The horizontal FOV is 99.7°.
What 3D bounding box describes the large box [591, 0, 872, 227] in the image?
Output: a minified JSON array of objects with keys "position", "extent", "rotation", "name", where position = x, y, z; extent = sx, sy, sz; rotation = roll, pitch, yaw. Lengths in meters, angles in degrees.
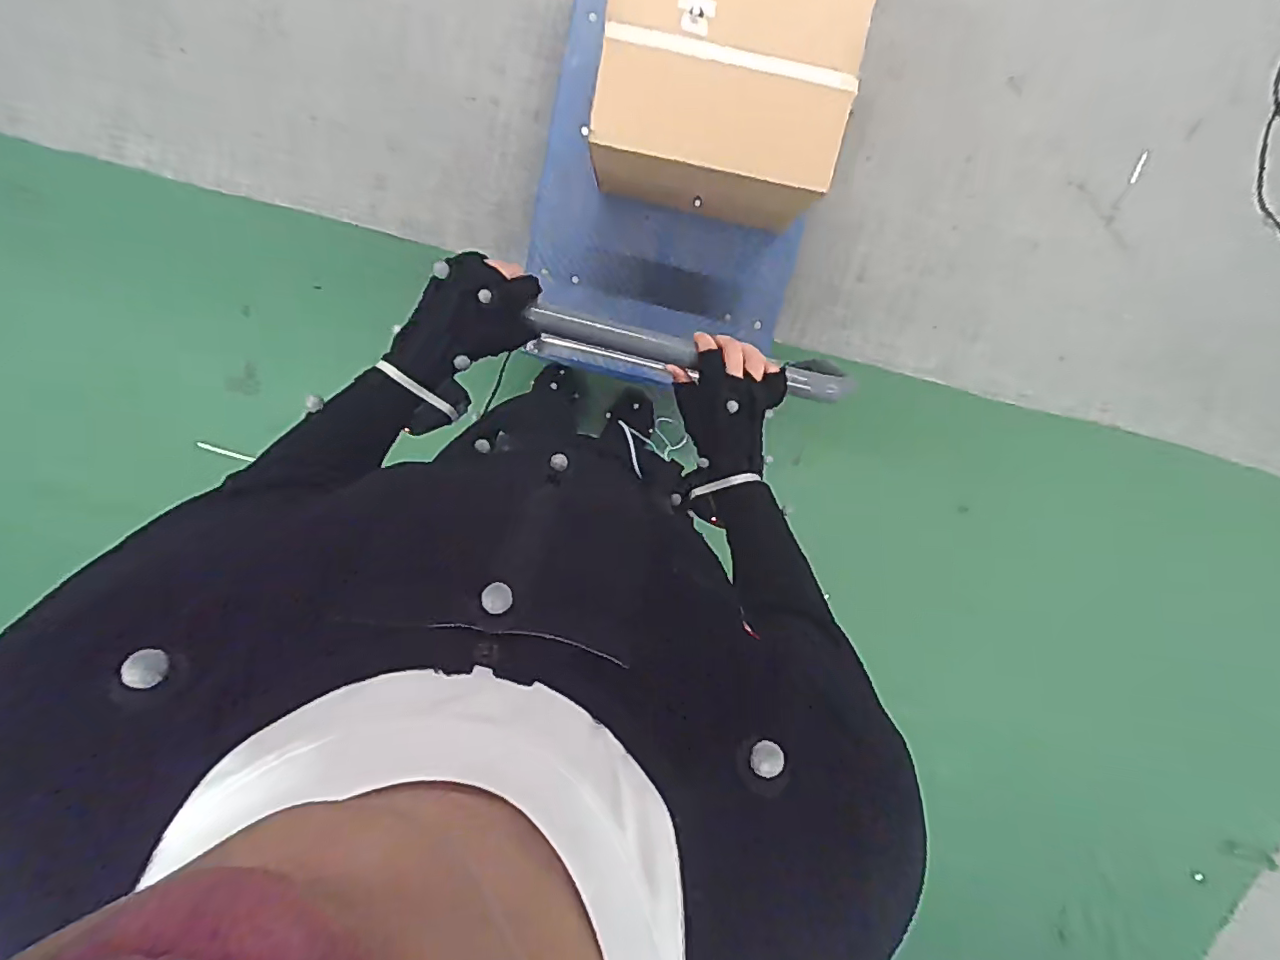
[{"position":[0.144,-0.692,0.998],"extent":[0.408,0.320,0.320],"rotation":[11,102,-3],"name":"large box"}]
